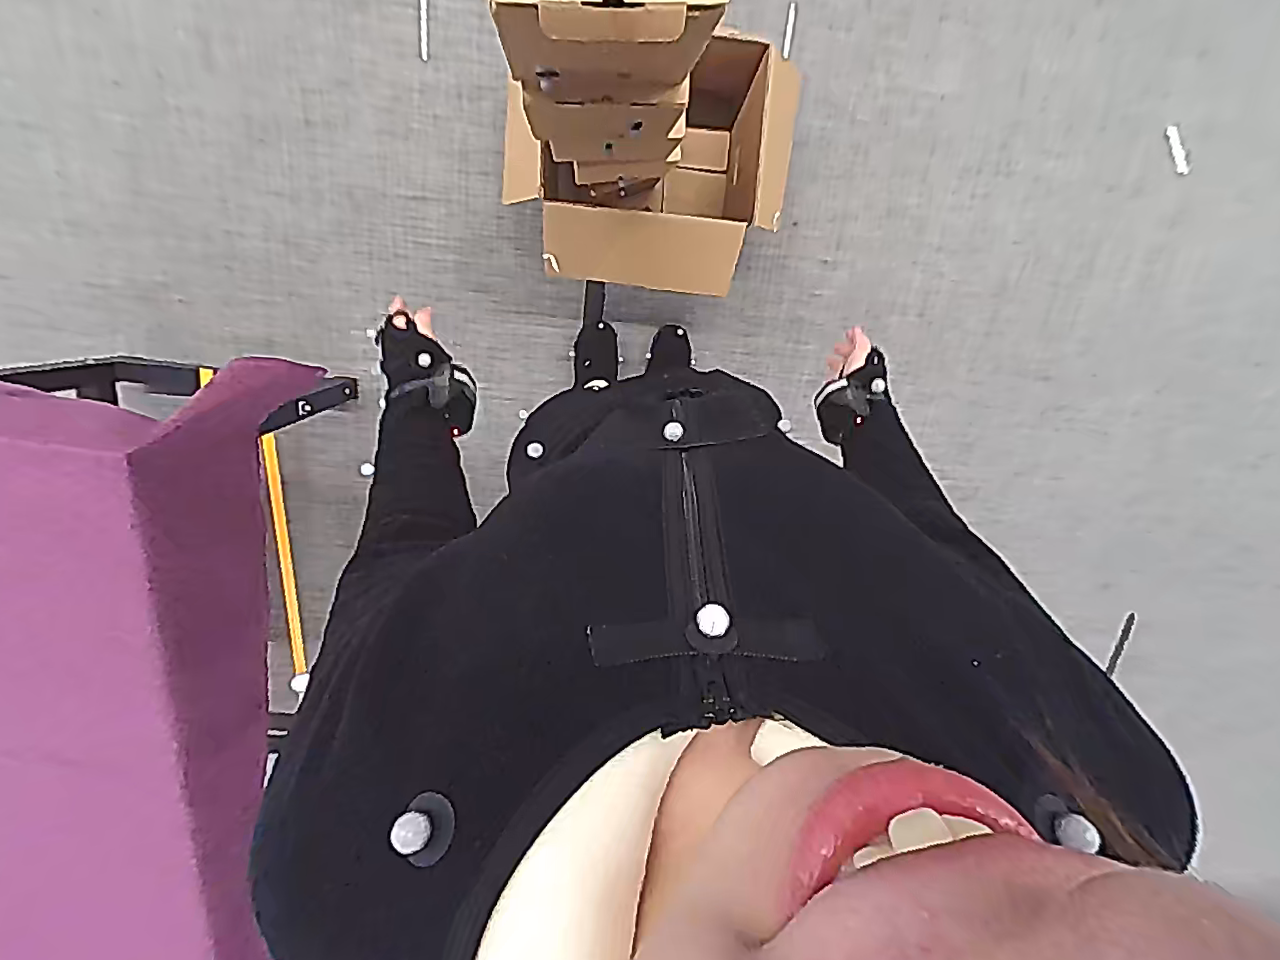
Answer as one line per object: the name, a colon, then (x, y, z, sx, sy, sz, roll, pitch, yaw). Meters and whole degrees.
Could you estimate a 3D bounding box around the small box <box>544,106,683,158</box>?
small box: (-0.040, -0.537, 0.721, 0.179, 0.176, 0.168, -3, 113, -5)

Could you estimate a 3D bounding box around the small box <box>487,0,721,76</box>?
small box: (-0.032, -0.433, 0.410, 0.168, 0.176, 0.179, -4, 112, -6)

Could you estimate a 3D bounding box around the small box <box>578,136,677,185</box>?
small box: (-0.042, -0.676, 1.021, 0.179, 0.176, 0.168, -16, 112, -1)

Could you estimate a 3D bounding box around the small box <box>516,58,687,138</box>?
small box: (-0.042, -0.477, 0.569, 0.168, 0.176, 0.179, -2, 112, -6)
